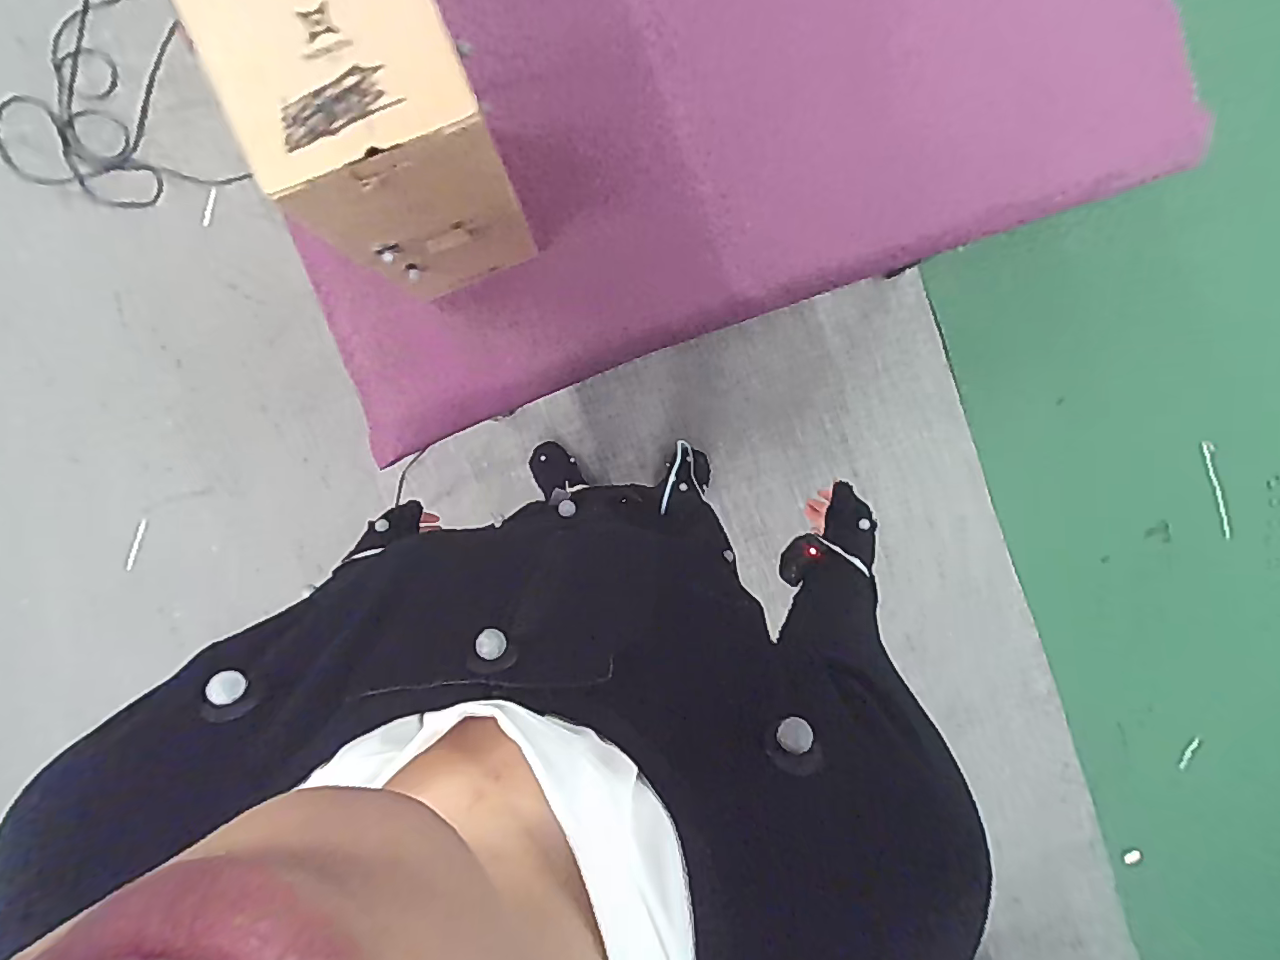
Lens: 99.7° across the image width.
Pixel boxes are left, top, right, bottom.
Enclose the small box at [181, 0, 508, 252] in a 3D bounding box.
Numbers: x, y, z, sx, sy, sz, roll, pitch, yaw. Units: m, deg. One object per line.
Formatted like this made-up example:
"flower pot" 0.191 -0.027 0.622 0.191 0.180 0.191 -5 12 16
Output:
"small box" -0.223 -0.311 0.452 0.168 0.176 0.179 -20 97 -4
